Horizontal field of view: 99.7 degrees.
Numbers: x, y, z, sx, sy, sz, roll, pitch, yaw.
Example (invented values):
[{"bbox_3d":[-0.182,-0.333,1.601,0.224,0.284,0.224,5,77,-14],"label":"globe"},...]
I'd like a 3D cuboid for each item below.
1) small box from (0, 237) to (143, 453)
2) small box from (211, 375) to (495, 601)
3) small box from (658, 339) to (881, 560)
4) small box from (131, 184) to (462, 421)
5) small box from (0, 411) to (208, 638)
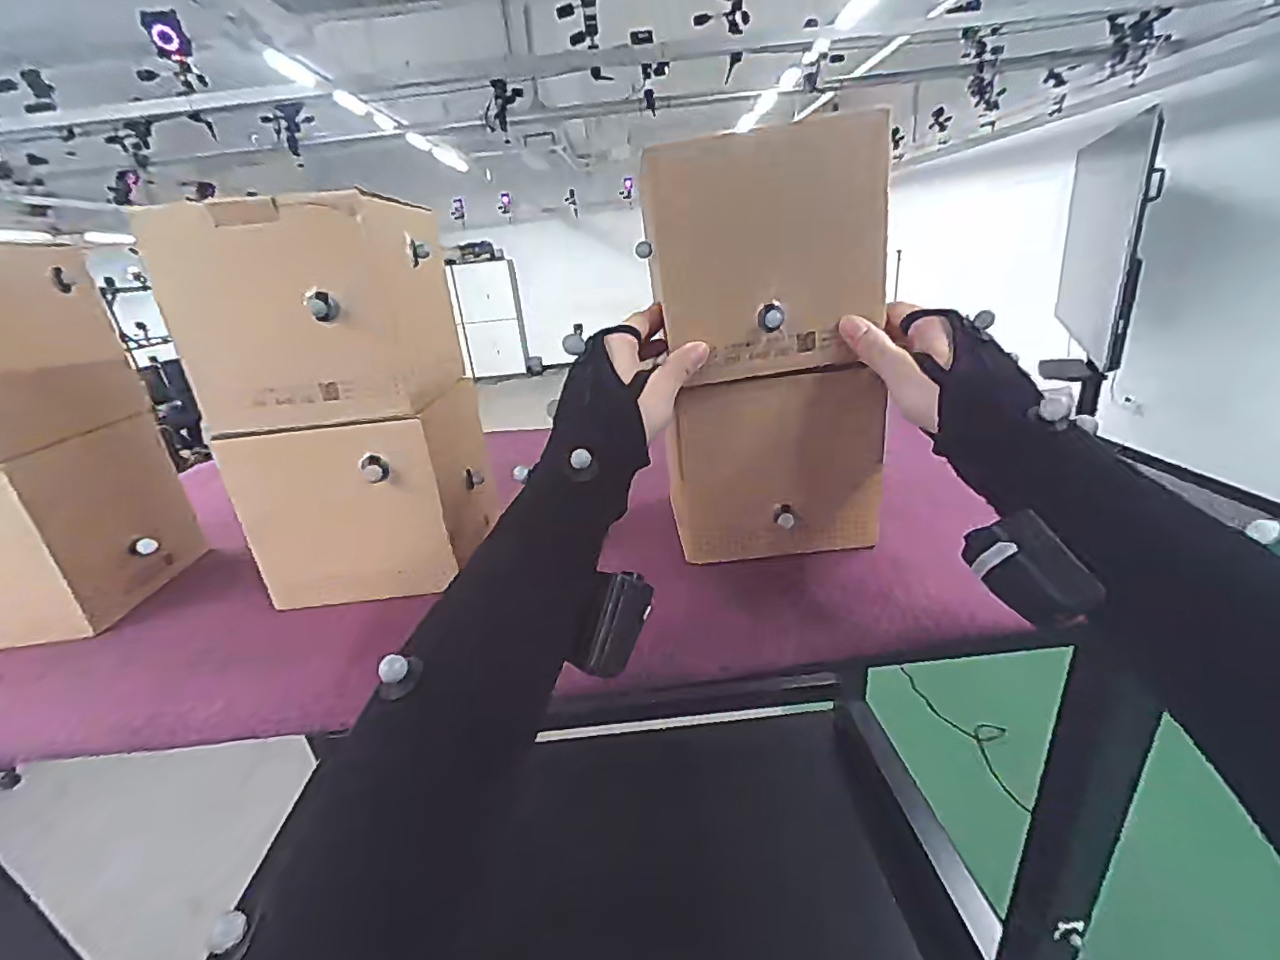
[{"bbox_3d":[-0.601,-0.110,0.471,0.168,0.176,0.179,-8,21,-4],"label":"small box"},{"bbox_3d":[-0.256,0.001,0.539,0.179,0.176,0.168,-6,21,0],"label":"small box"},{"bbox_3d":[0.113,-0.037,0.533,0.179,0.176,0.168,-6,20,1],"label":"small box"},{"bbox_3d":[-0.274,-0.152,0.486,0.168,0.176,0.179,-5,21,0],"label":"small box"},{"bbox_3d":[-0.585,0.041,0.527,0.179,0.176,0.168,-6,22,-3],"label":"small box"}]
